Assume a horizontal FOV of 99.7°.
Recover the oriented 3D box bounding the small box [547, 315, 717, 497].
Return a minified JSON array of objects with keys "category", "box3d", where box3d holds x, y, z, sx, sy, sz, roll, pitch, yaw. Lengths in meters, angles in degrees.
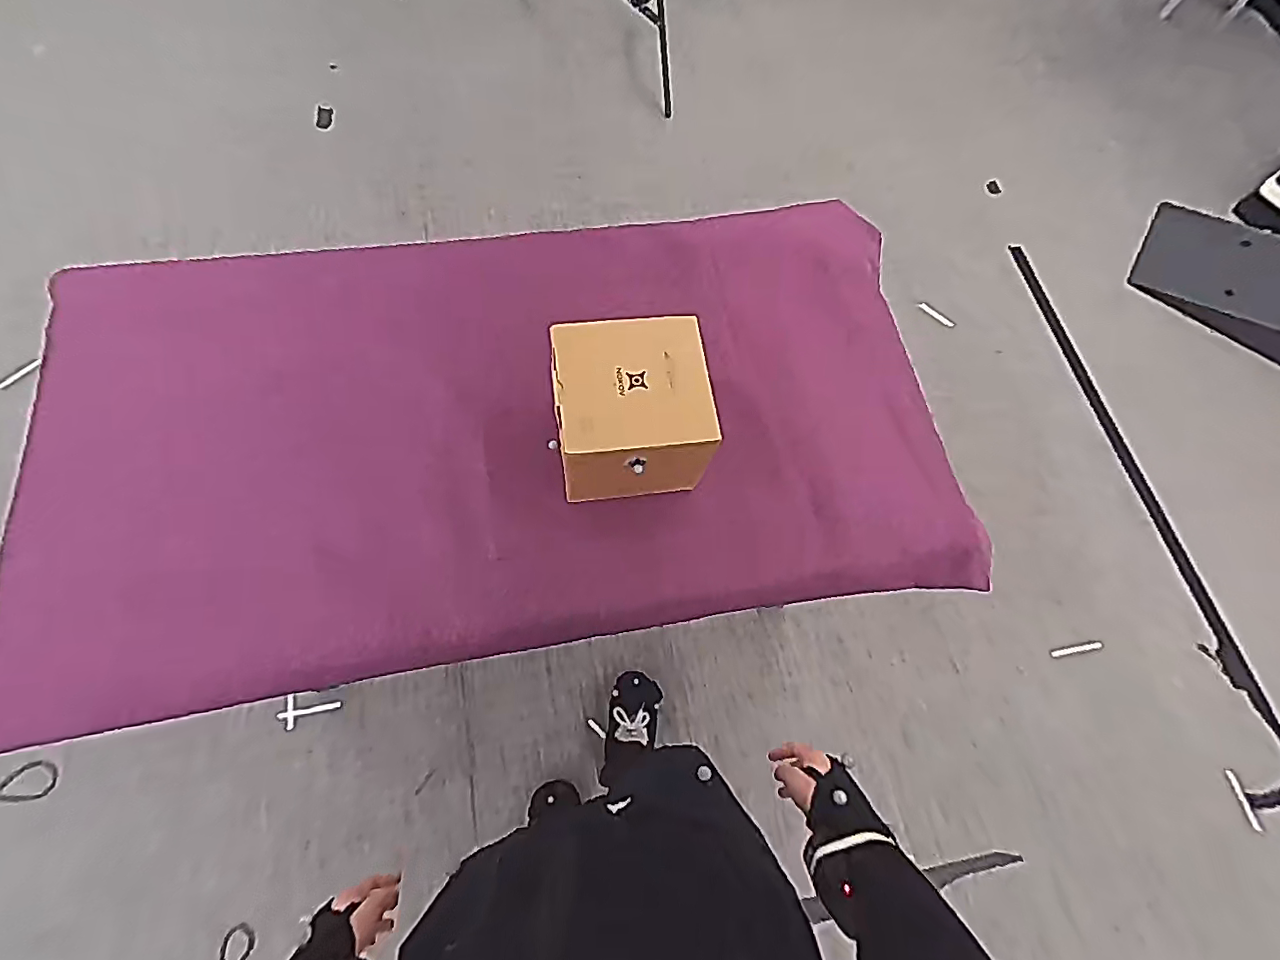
[{"category":"small box","box3d":[-0.017,-0.085,0.683,0.179,0.176,0.168,-6,71,-8]}]
